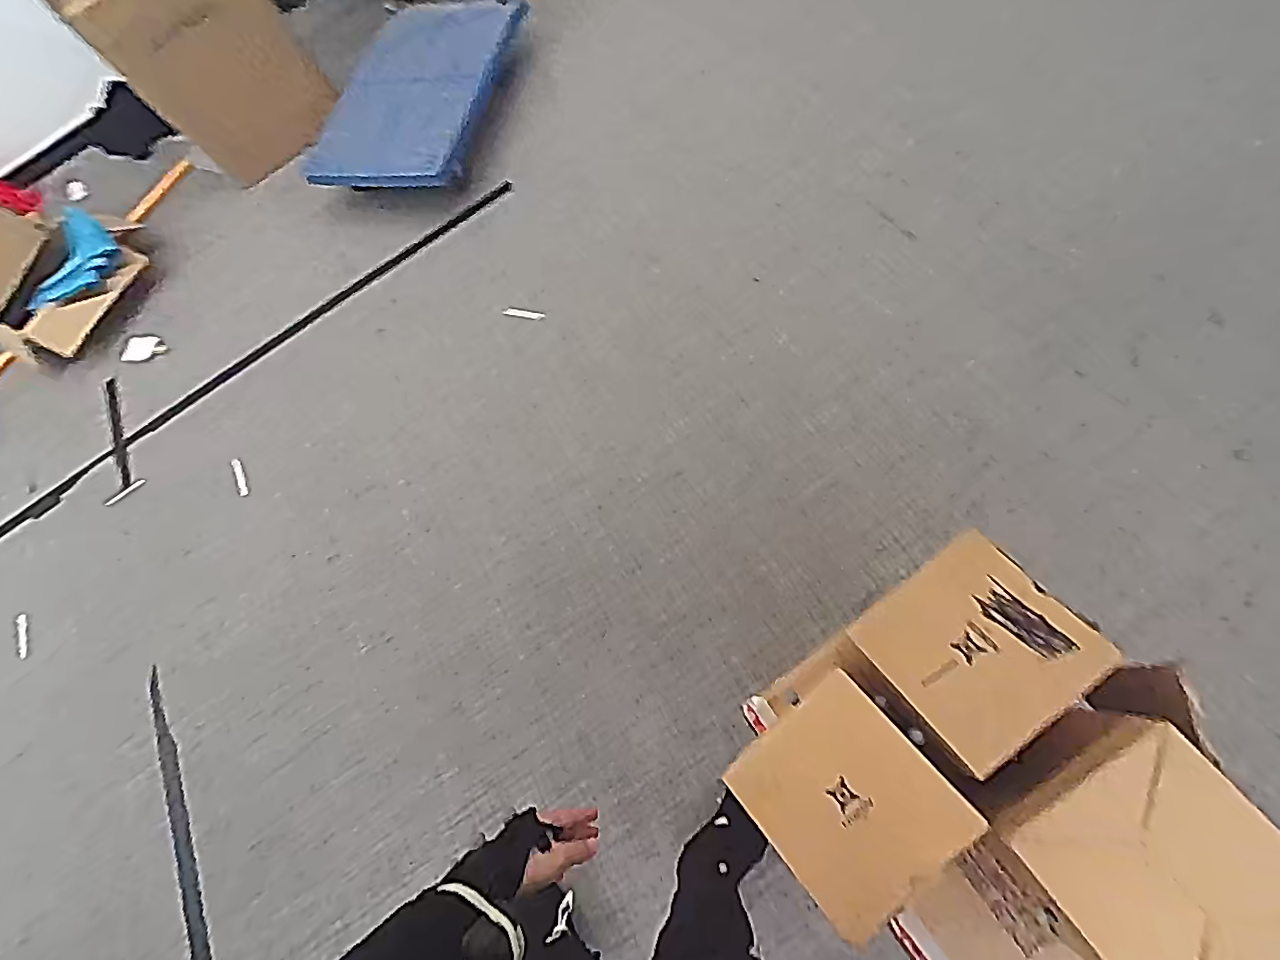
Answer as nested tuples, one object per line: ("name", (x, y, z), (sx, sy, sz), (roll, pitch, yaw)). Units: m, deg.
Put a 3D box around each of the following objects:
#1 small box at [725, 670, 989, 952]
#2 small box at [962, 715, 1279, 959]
("small box", (0.216, 0.329, 0.580), (0.168, 0.176, 0.179), (-42, 66, -1))
("small box", (0.446, 0.348, 0.505), (0.179, 0.176, 0.168), (-37, 68, 0))
